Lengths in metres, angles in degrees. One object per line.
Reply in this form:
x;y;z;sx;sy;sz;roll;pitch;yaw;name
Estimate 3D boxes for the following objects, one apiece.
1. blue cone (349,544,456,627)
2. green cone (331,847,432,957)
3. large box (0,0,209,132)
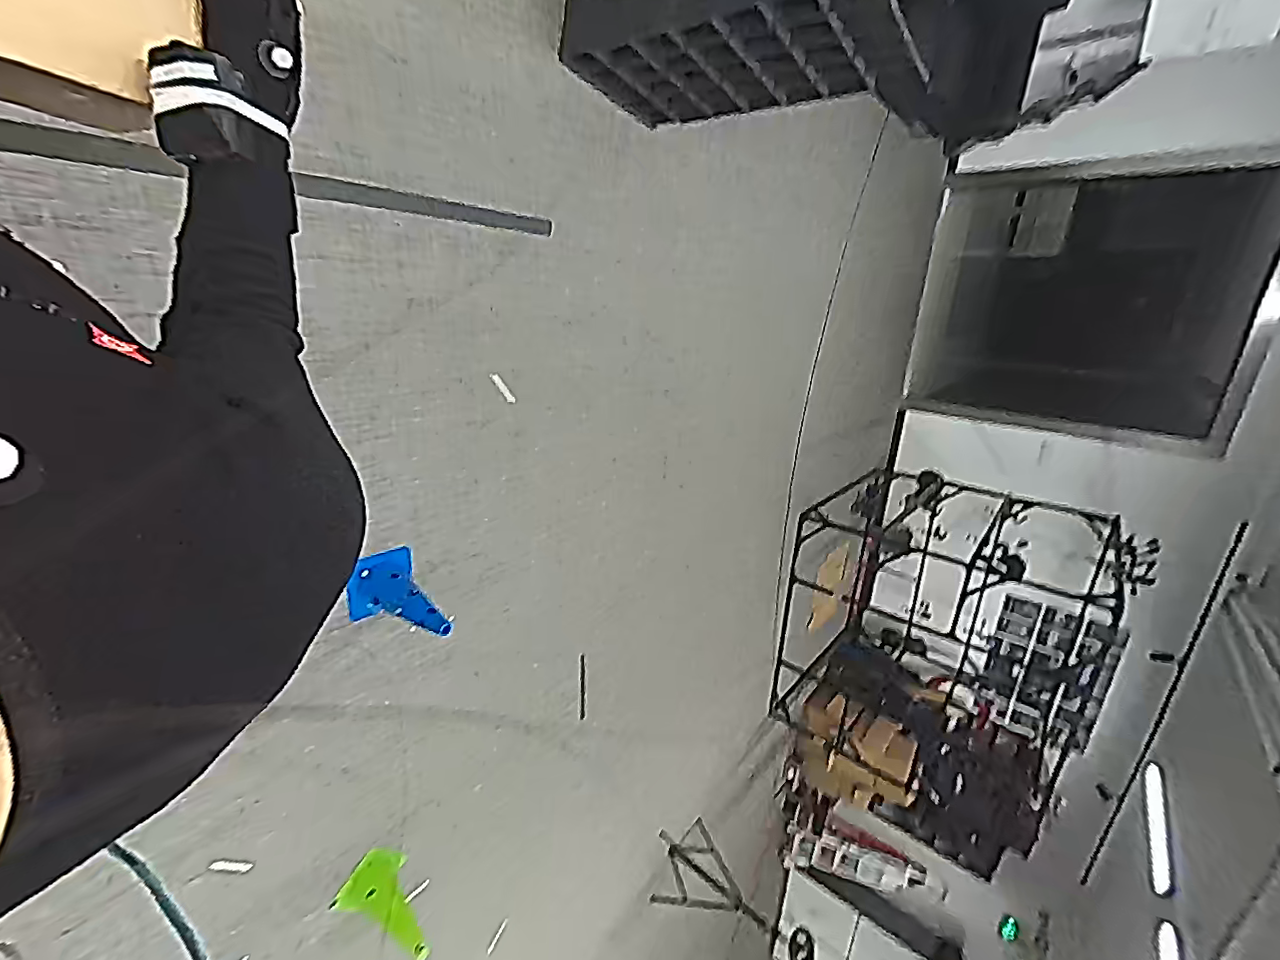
-0.667;0.343;1.565;0.192;0.380;0.193;-15;116;-51;blue cone
-0.814;1.441;1.797;0.202;0.368;0.200;-56;142;-24;green cone
-0.536;-0.443;0.298;0.408;0.320;0.320;-9;117;-52;large box
